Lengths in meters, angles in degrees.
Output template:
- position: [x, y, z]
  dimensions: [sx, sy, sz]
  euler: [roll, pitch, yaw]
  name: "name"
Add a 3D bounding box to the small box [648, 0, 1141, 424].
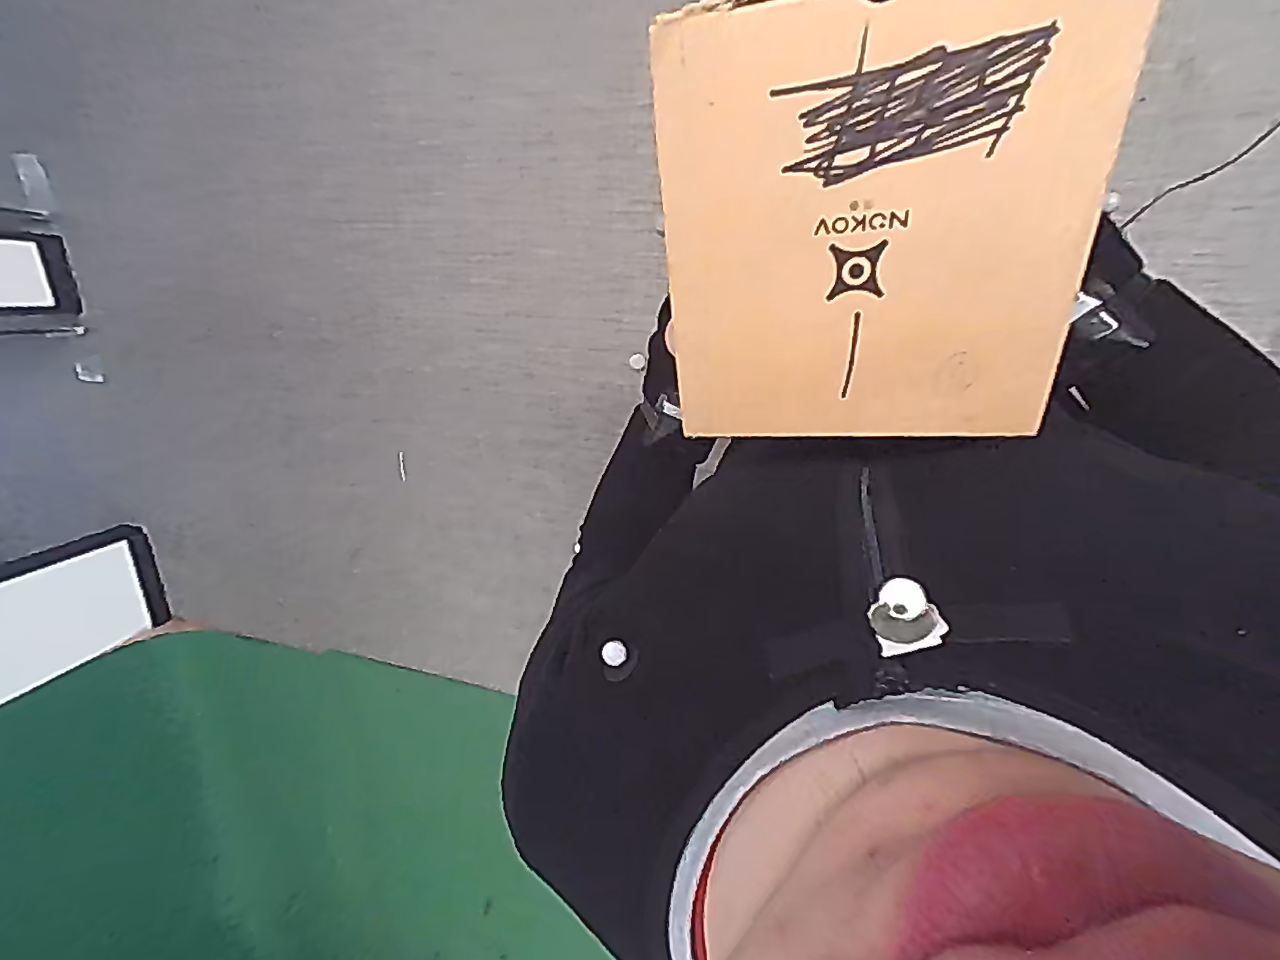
- position: [0.107, -0.143, 0.292]
  dimensions: [0.168, 0.176, 0.179]
  euler: [2, 122, 15]
  name: "small box"
